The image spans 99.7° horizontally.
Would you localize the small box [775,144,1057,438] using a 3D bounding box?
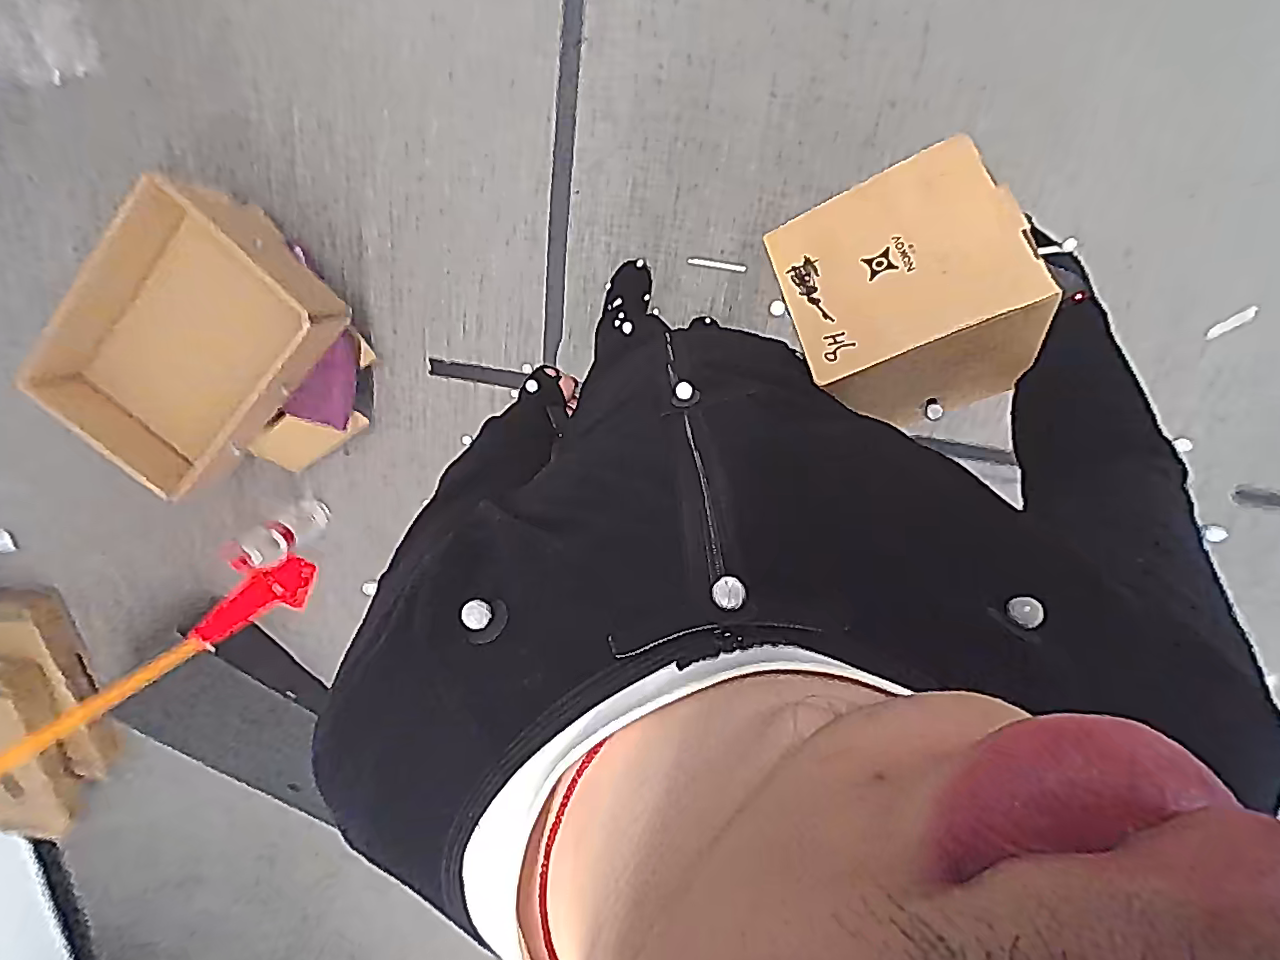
[{"bbox_3d":[0.249,-0.161,0.520,0.179,0.176,0.168,-19,67,21],"label":"small box"}]
